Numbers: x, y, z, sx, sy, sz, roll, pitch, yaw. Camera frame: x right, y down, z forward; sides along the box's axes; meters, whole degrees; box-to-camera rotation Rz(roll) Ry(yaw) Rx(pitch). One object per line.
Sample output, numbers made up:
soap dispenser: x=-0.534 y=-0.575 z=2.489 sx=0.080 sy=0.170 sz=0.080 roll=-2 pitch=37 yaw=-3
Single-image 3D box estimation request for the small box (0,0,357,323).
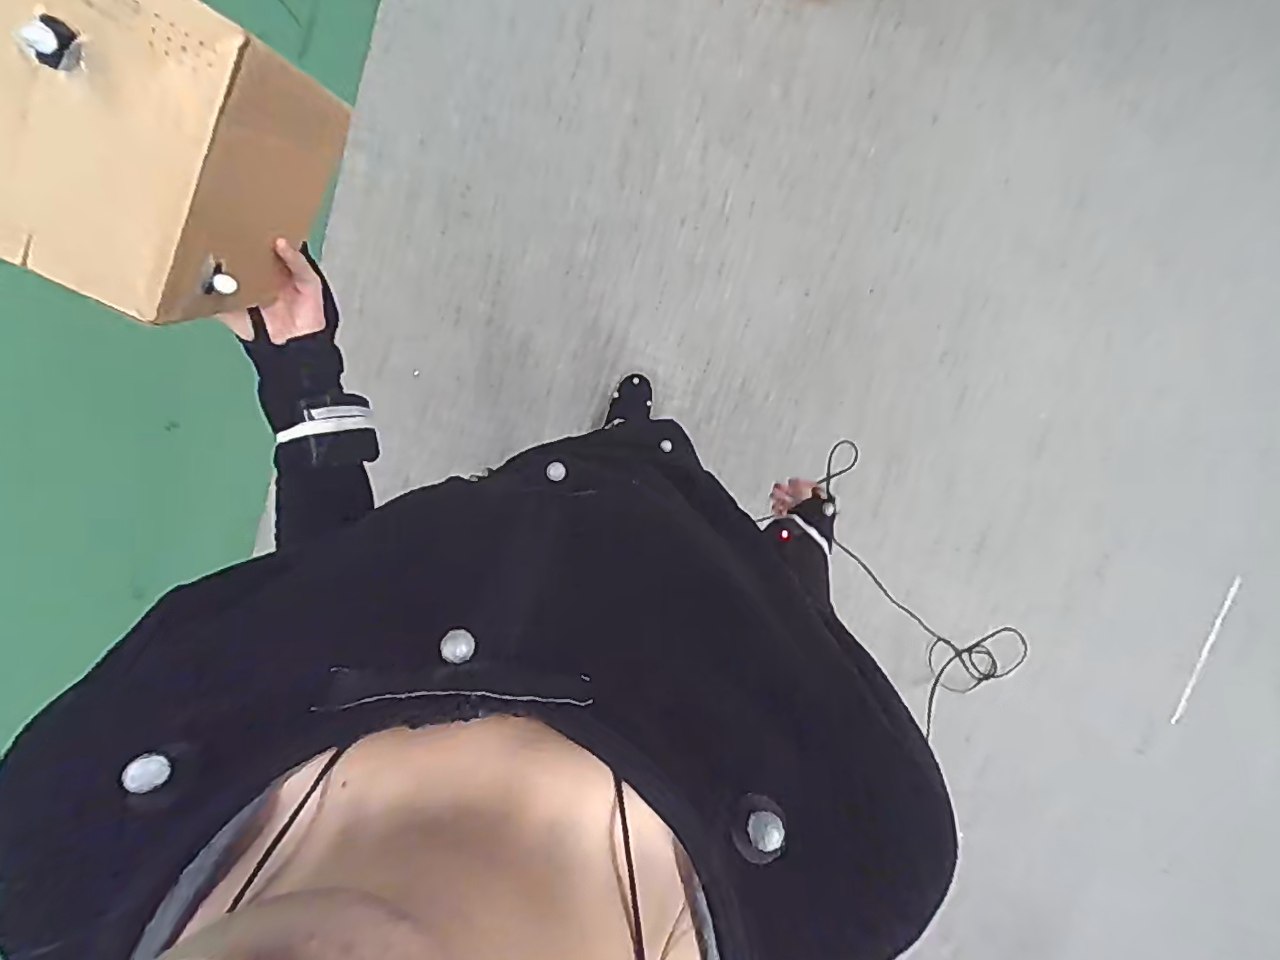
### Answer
small box: x=-0.308 y=-0.226 z=0.337 sx=0.168 sy=0.179 sz=0.176 roll=27 pitch=106 yaw=-20
